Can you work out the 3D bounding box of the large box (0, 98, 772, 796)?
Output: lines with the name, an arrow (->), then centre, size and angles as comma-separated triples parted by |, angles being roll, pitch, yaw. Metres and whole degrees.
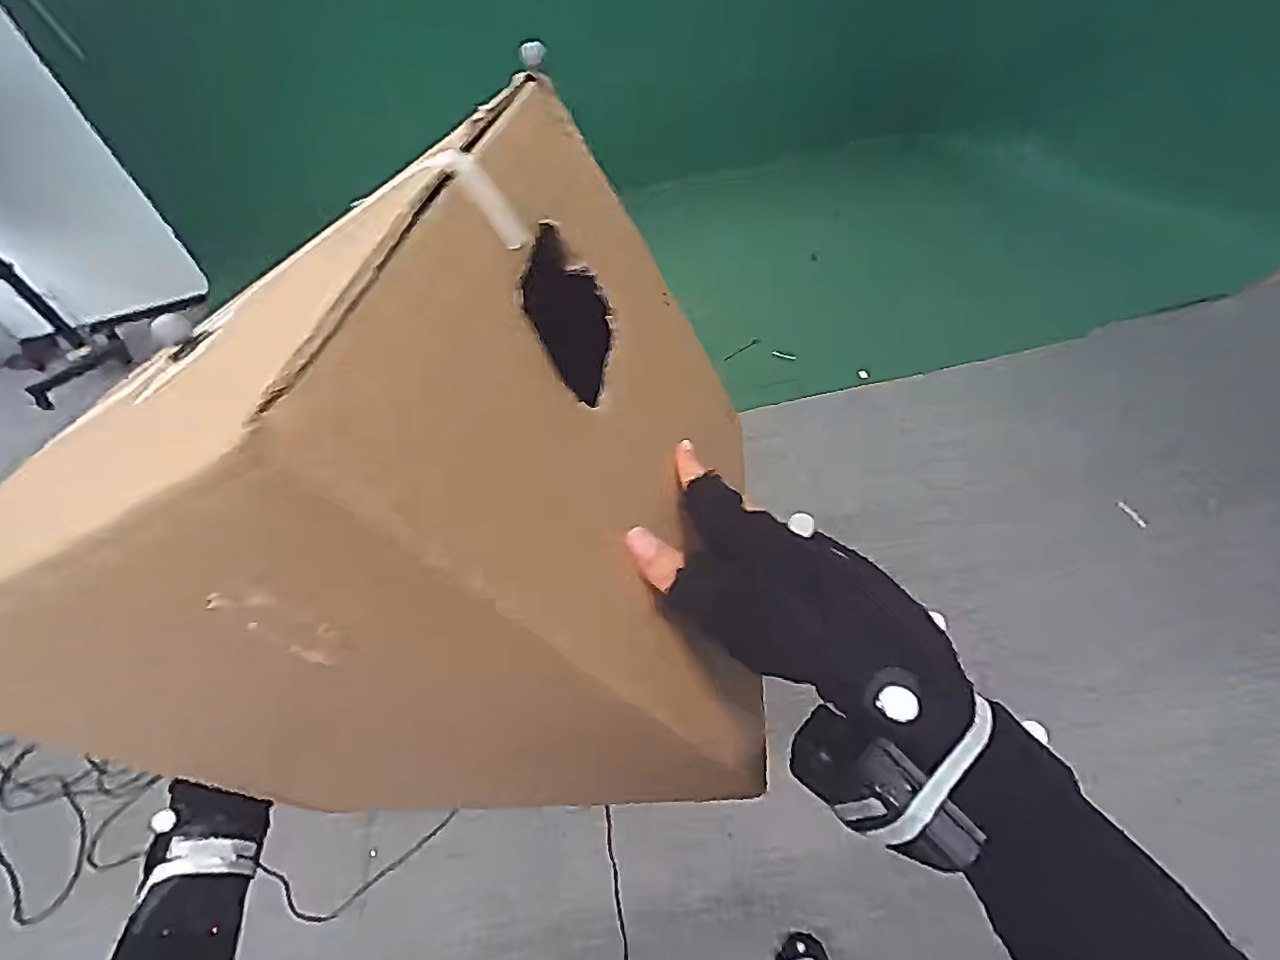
large box -> -0.153, 0.021, 0.407 | 0.408, 0.320, 0.320 | -18, 44, 24
